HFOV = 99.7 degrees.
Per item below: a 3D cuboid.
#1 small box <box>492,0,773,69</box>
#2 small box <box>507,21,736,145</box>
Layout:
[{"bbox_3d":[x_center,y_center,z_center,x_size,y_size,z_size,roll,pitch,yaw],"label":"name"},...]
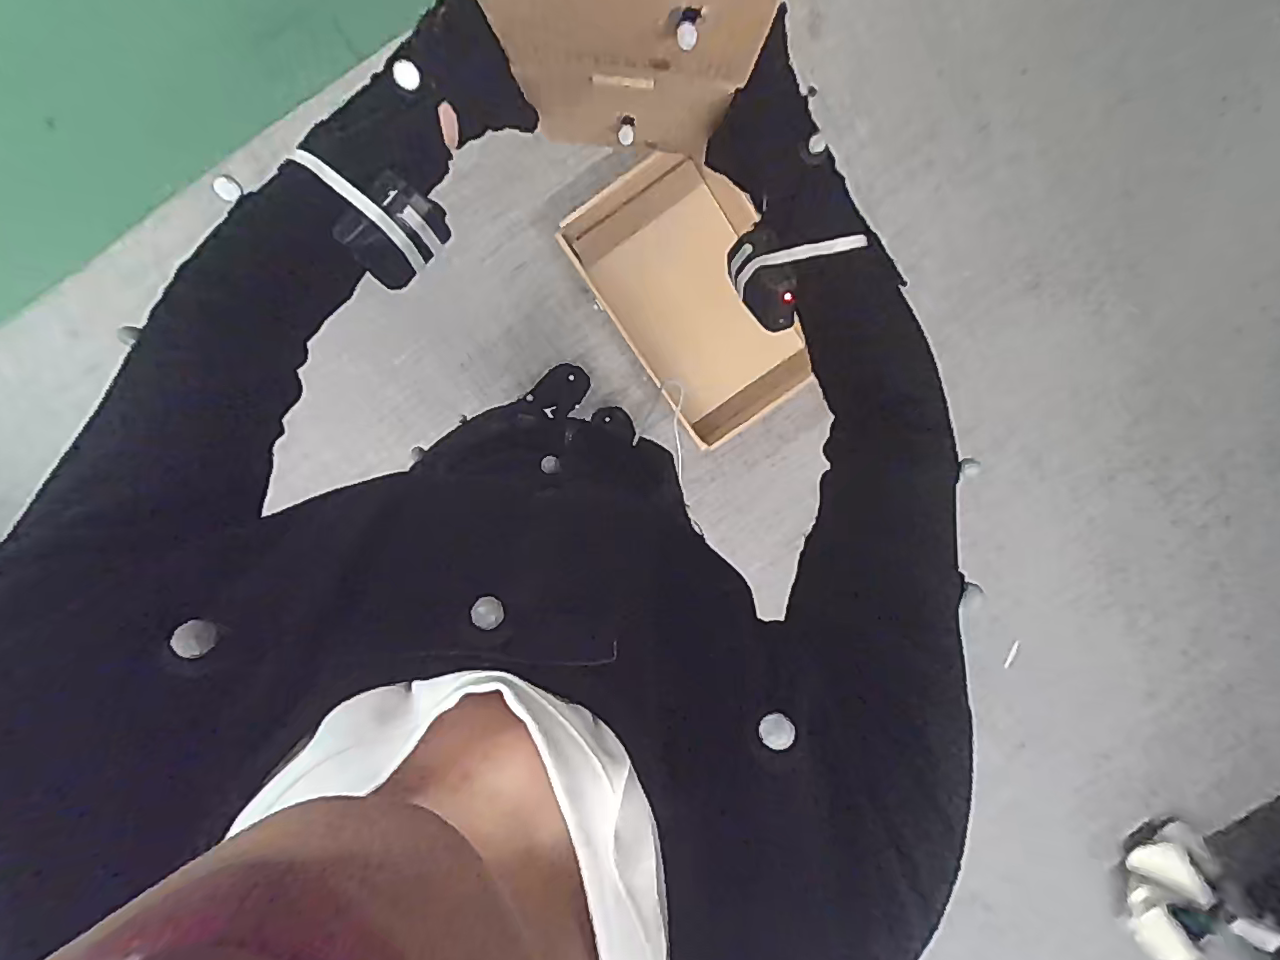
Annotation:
[{"bbox_3d":[-0.001,-0.335,0.260,0.168,0.176,0.179,4,107,-1],"label":"small box"},{"bbox_3d":[-0.007,-0.390,0.435,0.168,0.176,0.179,2,107,1],"label":"small box"}]
